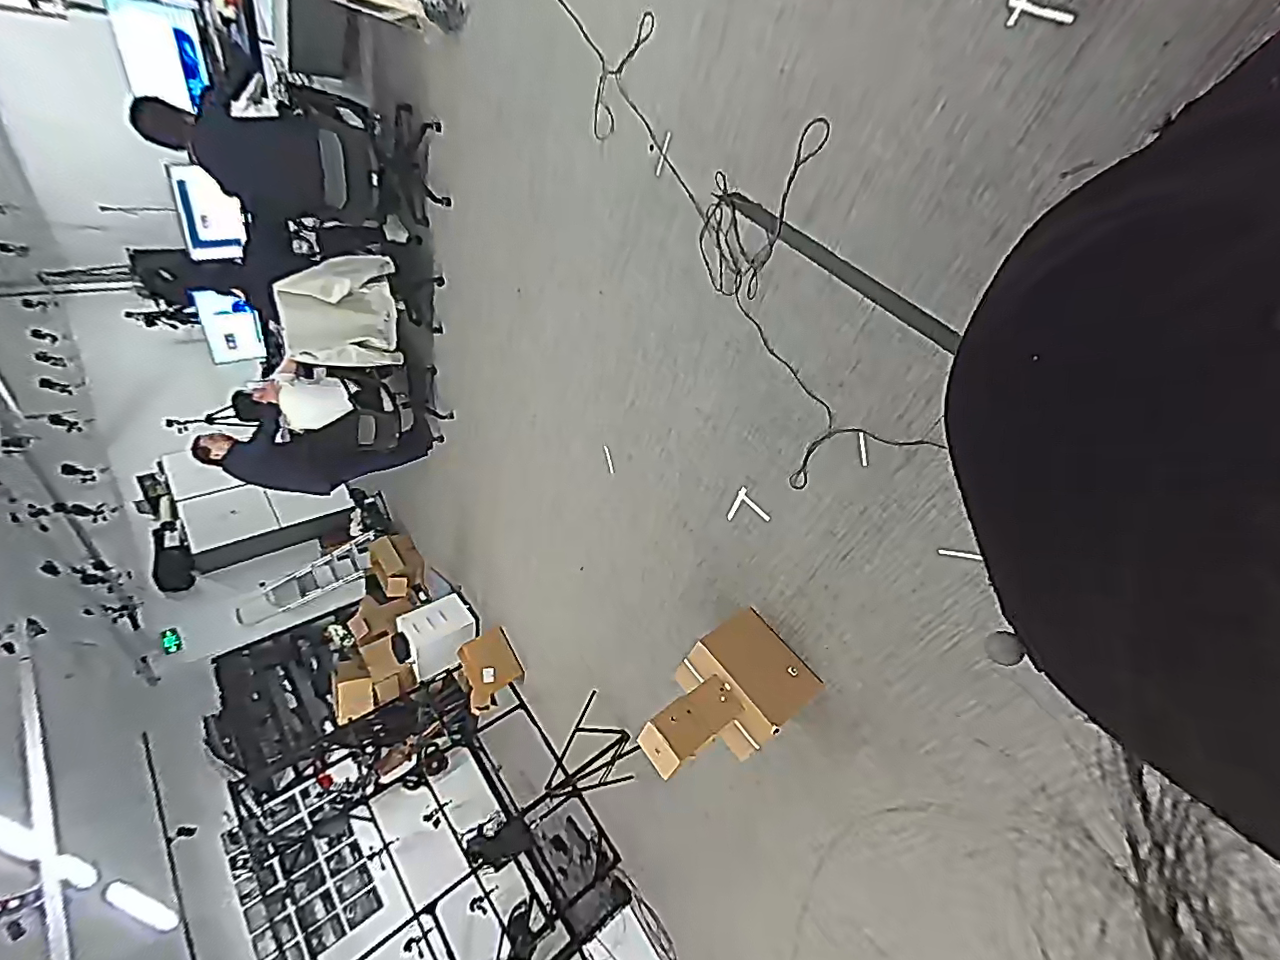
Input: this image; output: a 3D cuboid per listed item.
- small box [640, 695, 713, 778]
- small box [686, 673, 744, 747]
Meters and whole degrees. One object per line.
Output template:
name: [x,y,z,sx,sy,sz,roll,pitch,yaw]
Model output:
small box: [0.131,0.886,1.880,0.168,0.176,0.179,46,138,29]
small box: [0.253,0.846,1.980,0.168,0.176,0.179,46,137,27]
